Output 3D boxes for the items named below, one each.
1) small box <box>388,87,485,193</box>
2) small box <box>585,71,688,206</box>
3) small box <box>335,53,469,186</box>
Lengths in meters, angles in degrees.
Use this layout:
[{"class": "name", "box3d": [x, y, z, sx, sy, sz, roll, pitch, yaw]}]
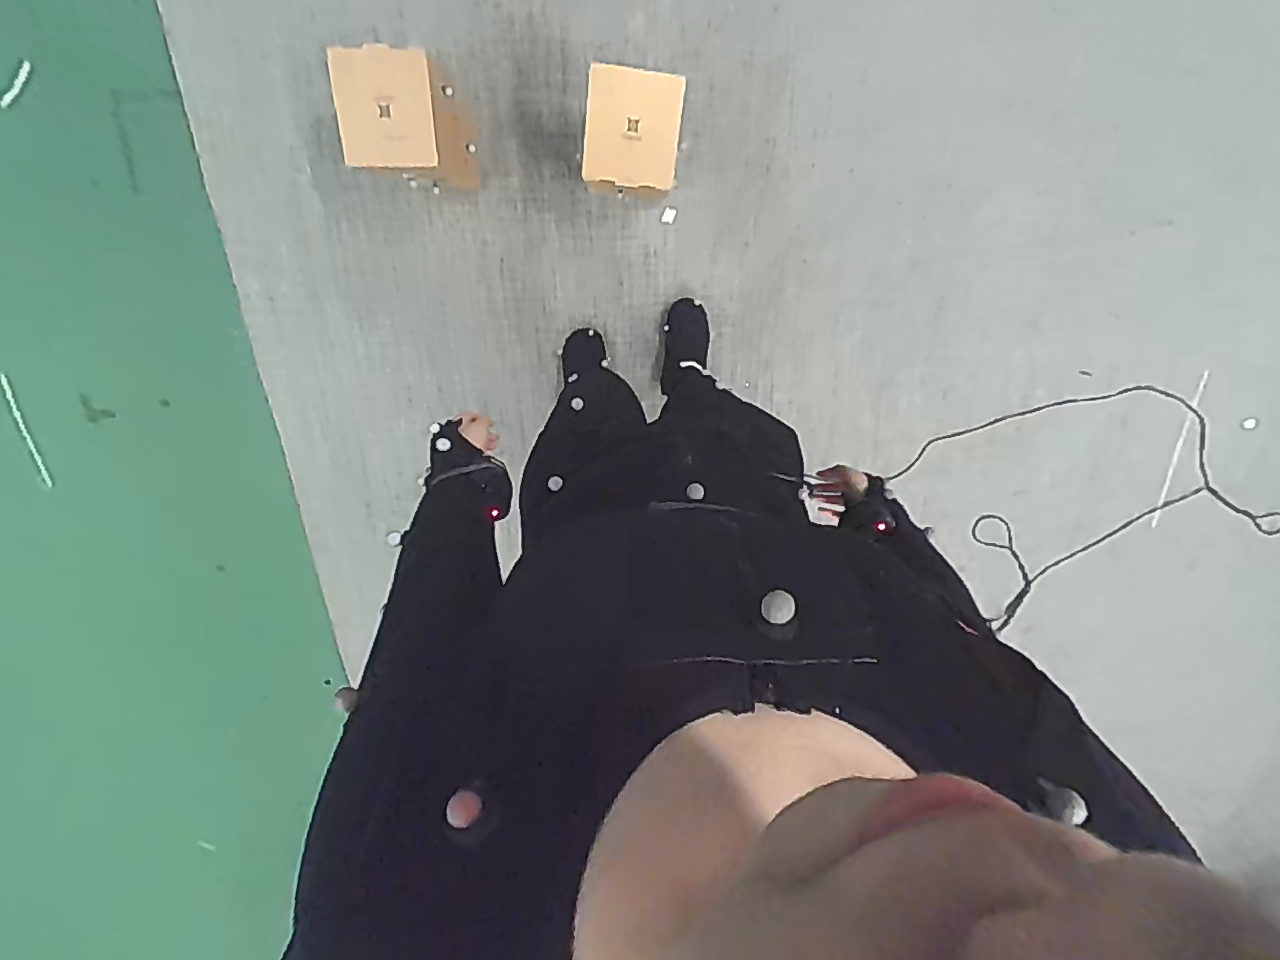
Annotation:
[{"class": "small box", "box3d": [-0.435, -0.721, 1.156, 0.168, 0.176, 0.179, 3, 113, -2]}, {"class": "small box", "box3d": [-0.011, -0.635, 1.026, 0.168, 0.176, 0.179, 6, 112, -4]}, {"class": "small box", "box3d": [-0.429, -0.659, 1.006, 0.168, 0.176, 0.179, 0, 113, 0]}]
